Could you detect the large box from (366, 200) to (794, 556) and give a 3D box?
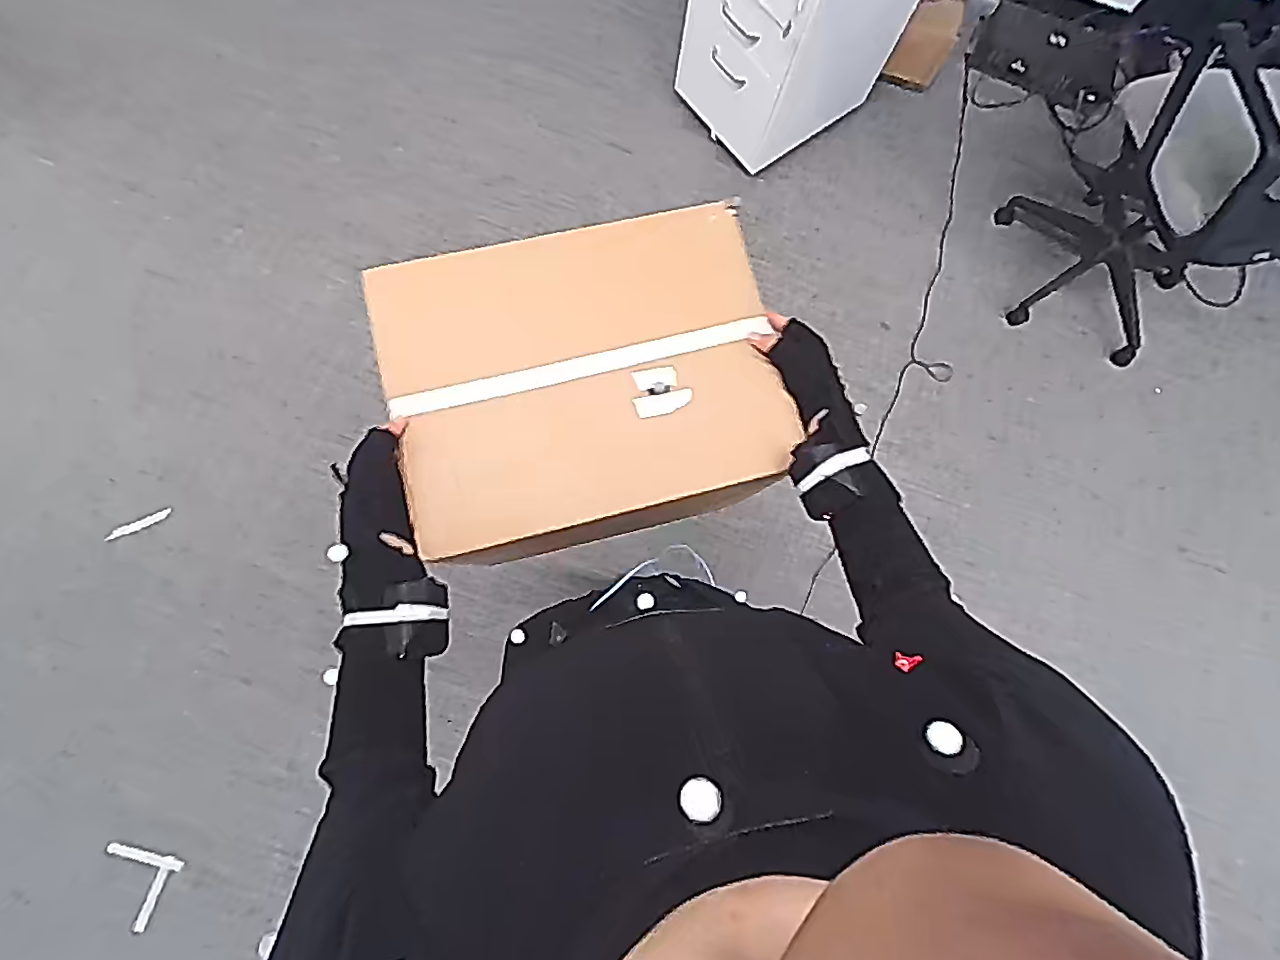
[{"bbox_3d":[-0.076,-0.102,0.723,0.408,0.320,0.320,-15,83,-7],"label":"large box"}]
